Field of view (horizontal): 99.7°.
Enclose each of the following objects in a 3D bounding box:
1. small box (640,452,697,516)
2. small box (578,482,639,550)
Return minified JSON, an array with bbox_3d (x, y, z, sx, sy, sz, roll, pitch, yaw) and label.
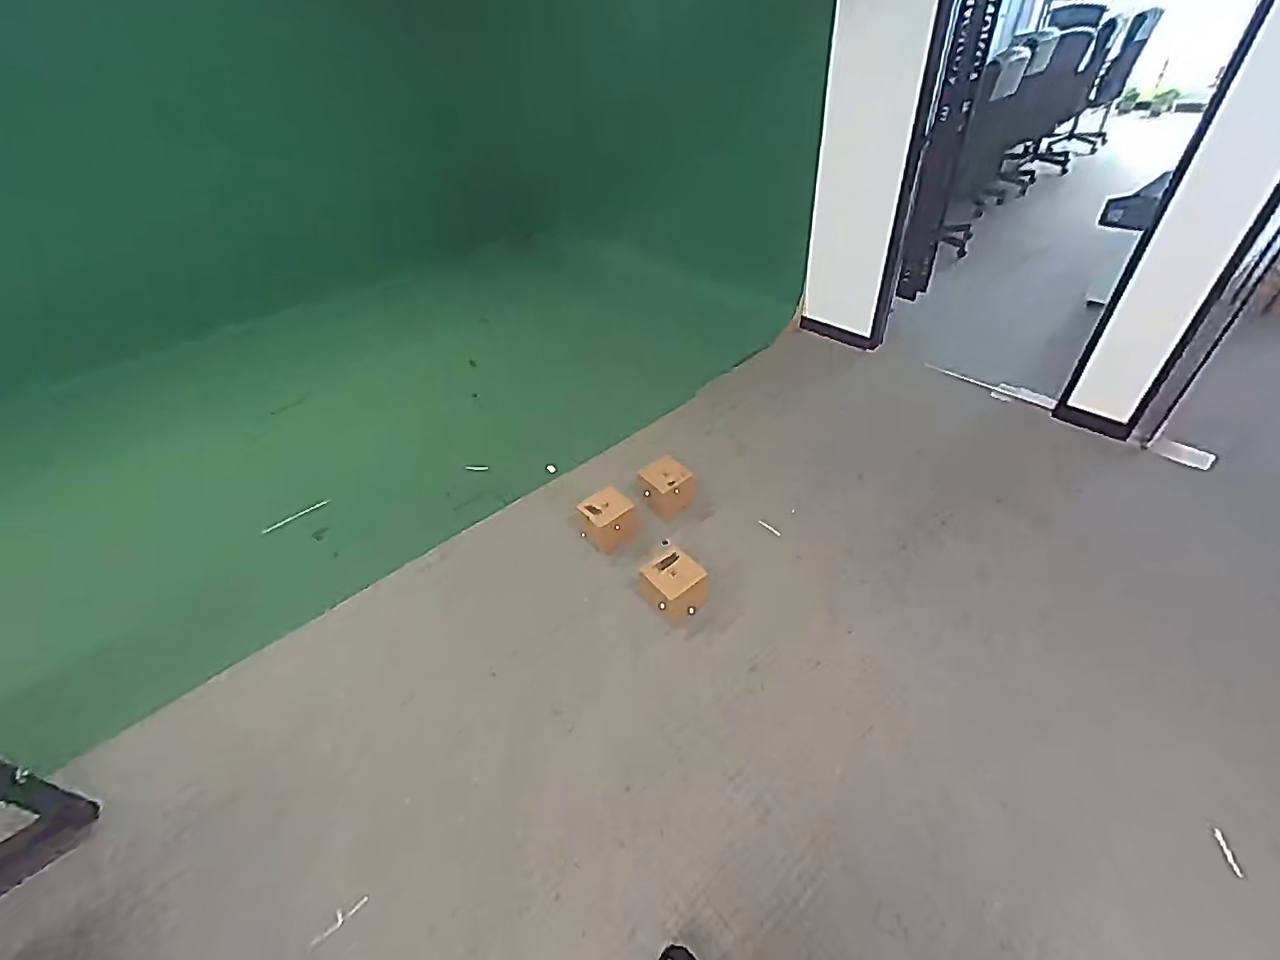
[{"bbox_3d":[0.120,0.018,2.241,0.168,0.176,0.179,-30,46,-23],"label":"small box"},{"bbox_3d":[-0.118,0.145,2.134,0.179,0.176,0.168,-31,48,-24],"label":"small box"}]
